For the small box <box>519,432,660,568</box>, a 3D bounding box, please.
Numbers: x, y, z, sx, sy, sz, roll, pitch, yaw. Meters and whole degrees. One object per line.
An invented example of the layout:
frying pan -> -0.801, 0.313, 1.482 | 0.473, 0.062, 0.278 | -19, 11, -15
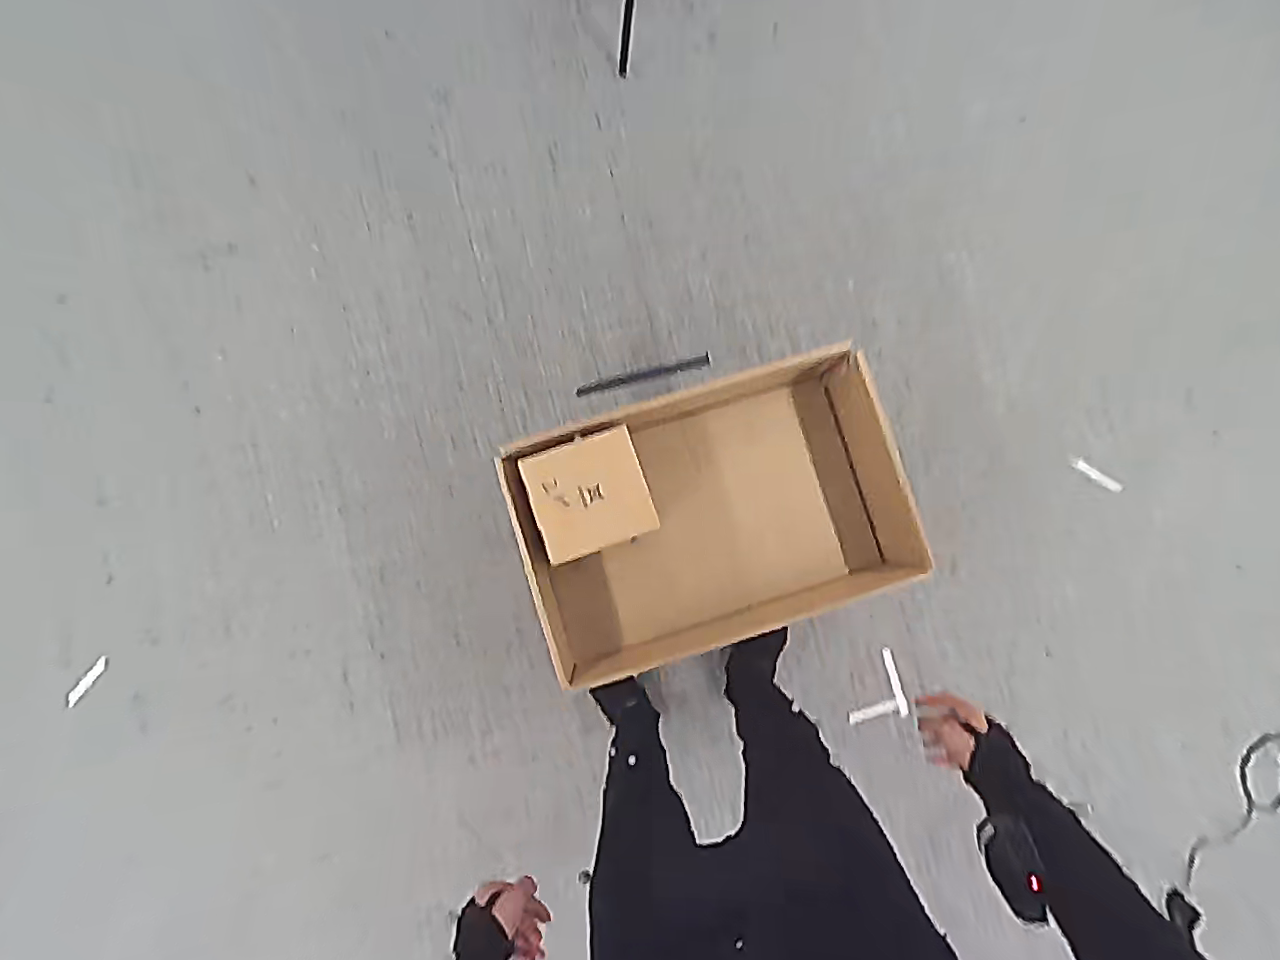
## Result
small box -> -0.080, 0.033, 0.889 | 0.179, 0.176, 0.168 | -19, 86, -4
